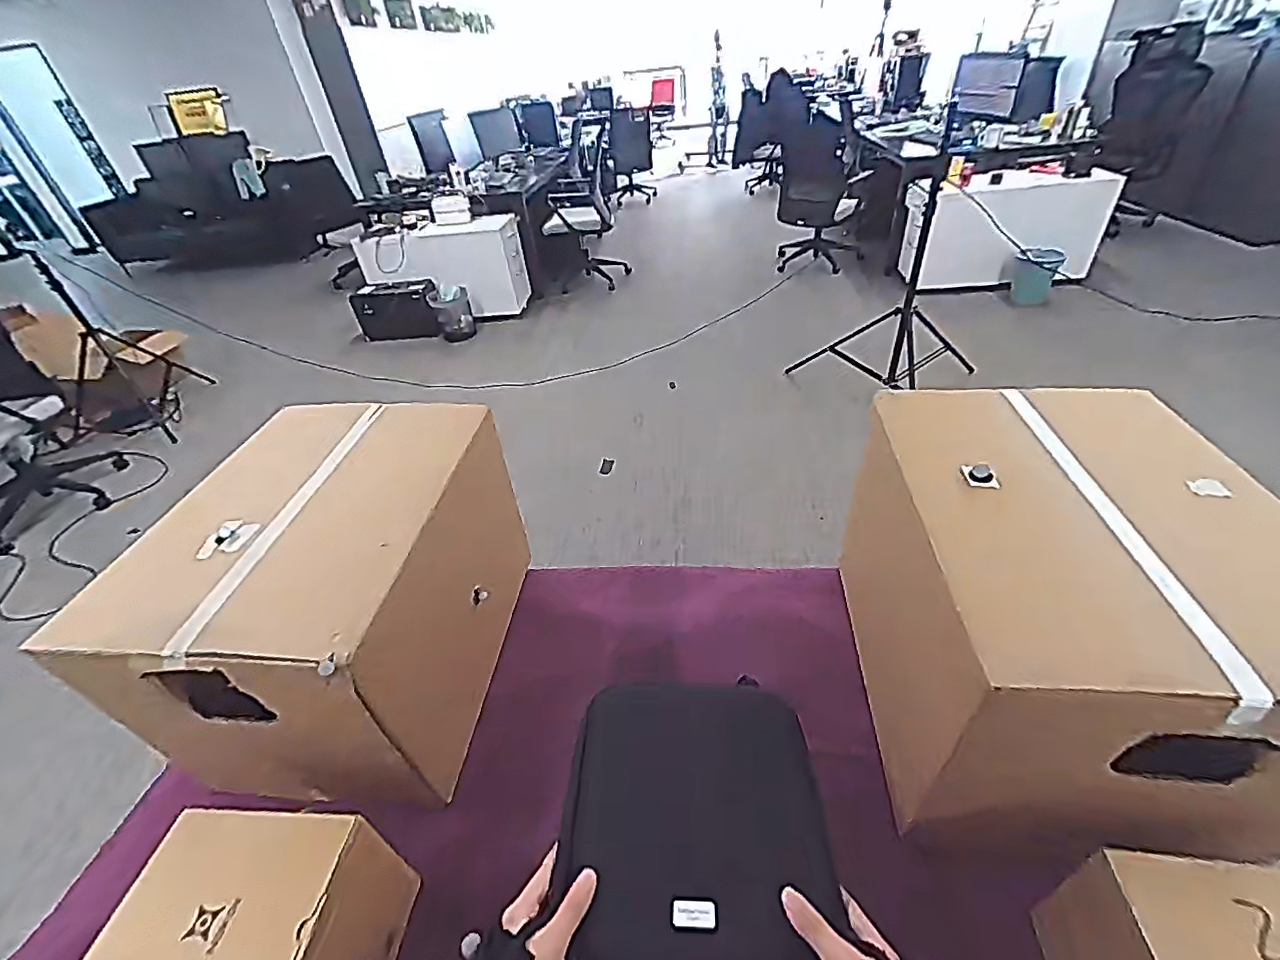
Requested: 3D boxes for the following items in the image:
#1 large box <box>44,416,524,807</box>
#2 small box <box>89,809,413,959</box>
[{"bbox_3d":[-0.369,0.154,0.719,0.320,0.320,0.408,-1,41,6],"label":"large box"},{"bbox_3d":[-0.341,0.423,0.488,0.179,0.176,0.168,-2,37,5],"label":"small box"}]
